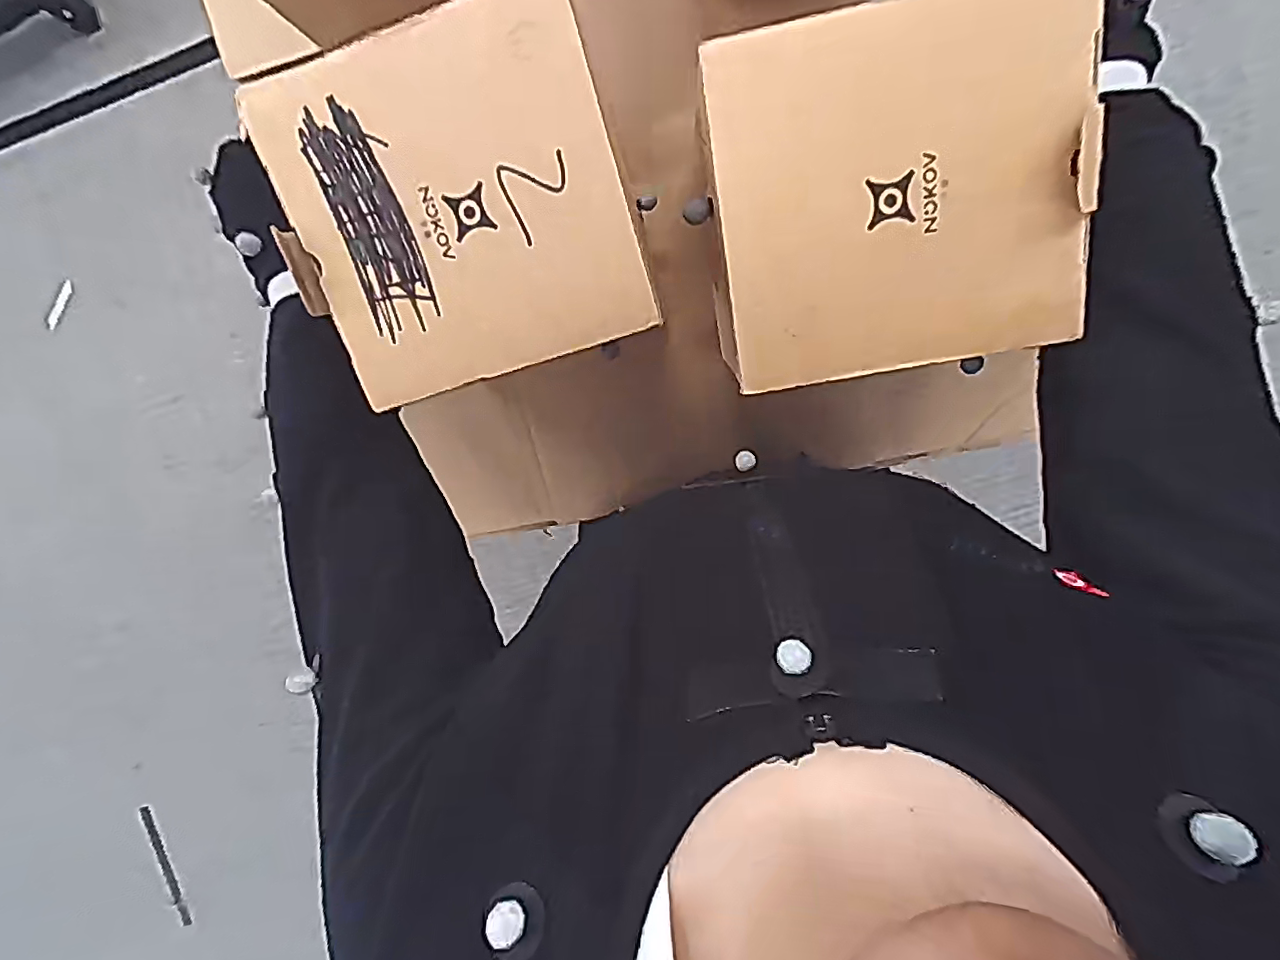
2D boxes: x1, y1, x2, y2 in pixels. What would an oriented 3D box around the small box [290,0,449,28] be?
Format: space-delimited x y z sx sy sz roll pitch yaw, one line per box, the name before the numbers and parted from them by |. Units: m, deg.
small box | -0.177 -0.400 0.299 0.168 0.176 0.179 -12 102 8
